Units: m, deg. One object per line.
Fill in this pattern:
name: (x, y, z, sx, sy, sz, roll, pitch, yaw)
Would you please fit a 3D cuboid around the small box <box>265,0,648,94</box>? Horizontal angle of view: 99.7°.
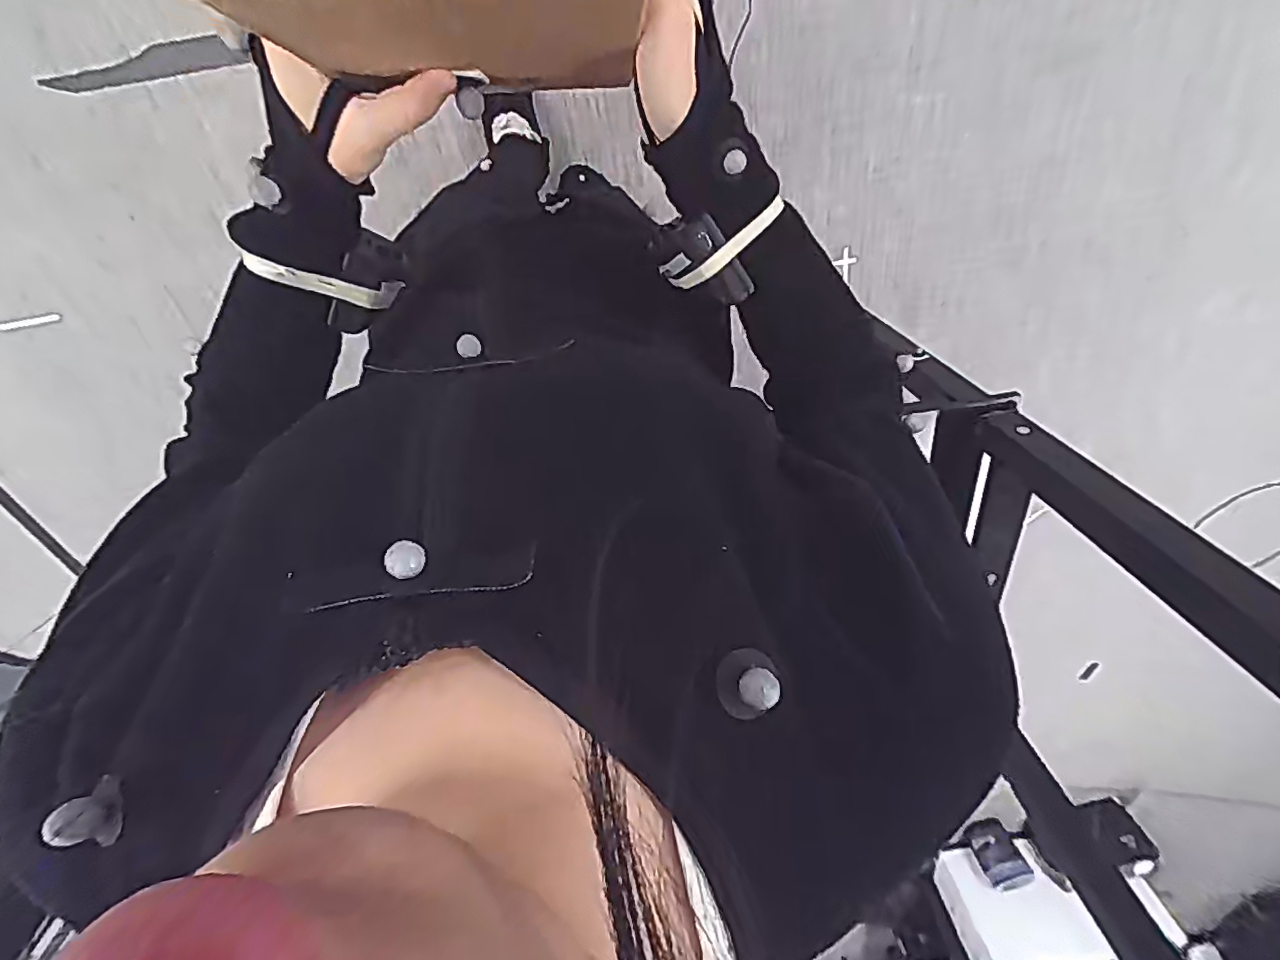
small box: (-0.085, -0.285, 0.222, 0.168, 0.176, 0.179, -4, 115, -2)
